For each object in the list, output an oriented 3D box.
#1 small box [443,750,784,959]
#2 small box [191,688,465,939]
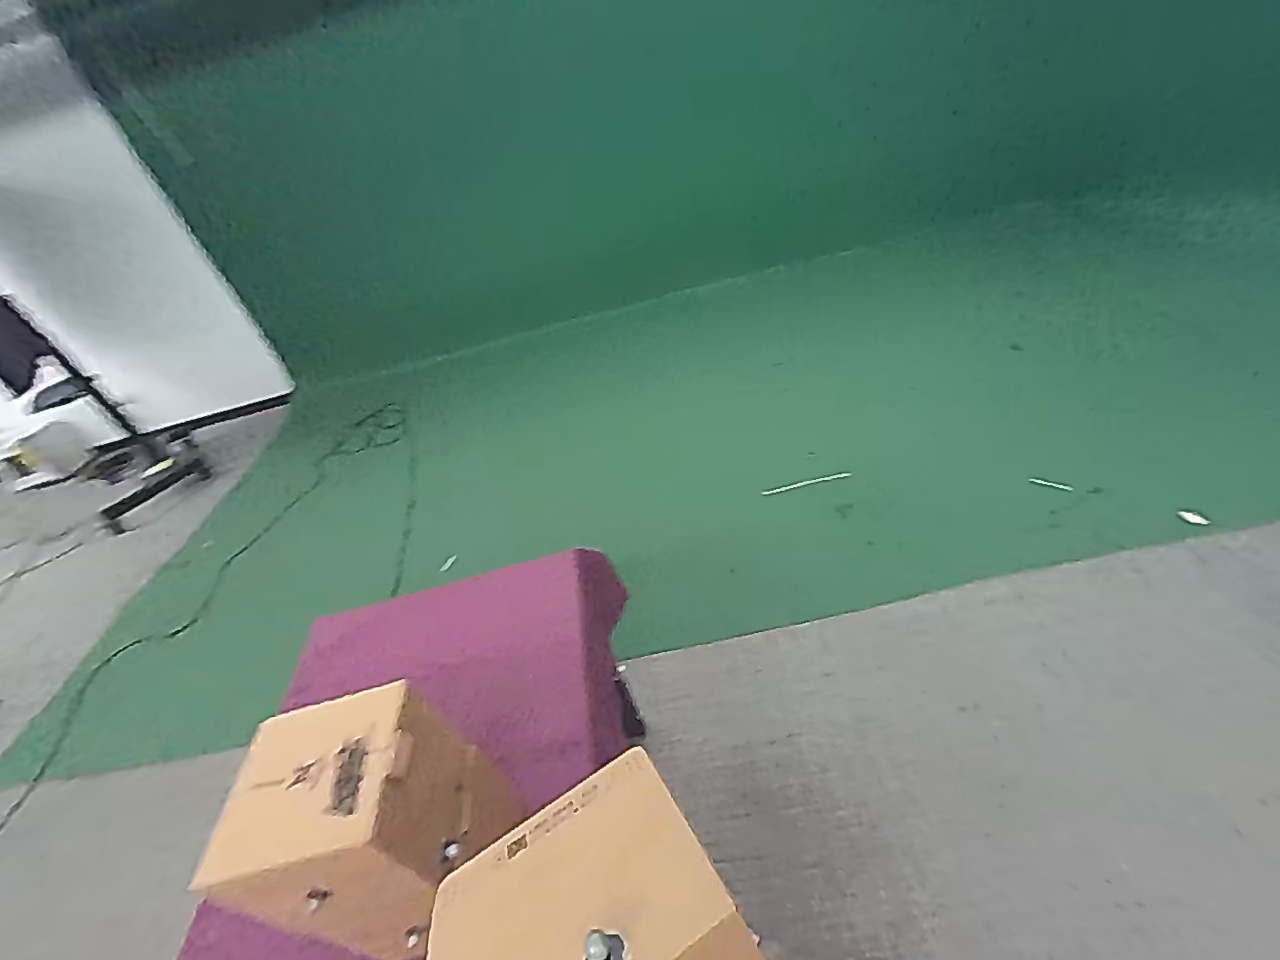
[{"bbox_3d":[-0.001,0.305,0.316,0.168,0.179,0.176,-29,7,-14],"label":"small box"},{"bbox_3d":[-0.311,0.363,0.591,0.179,0.176,0.168,-18,37,2],"label":"small box"}]
